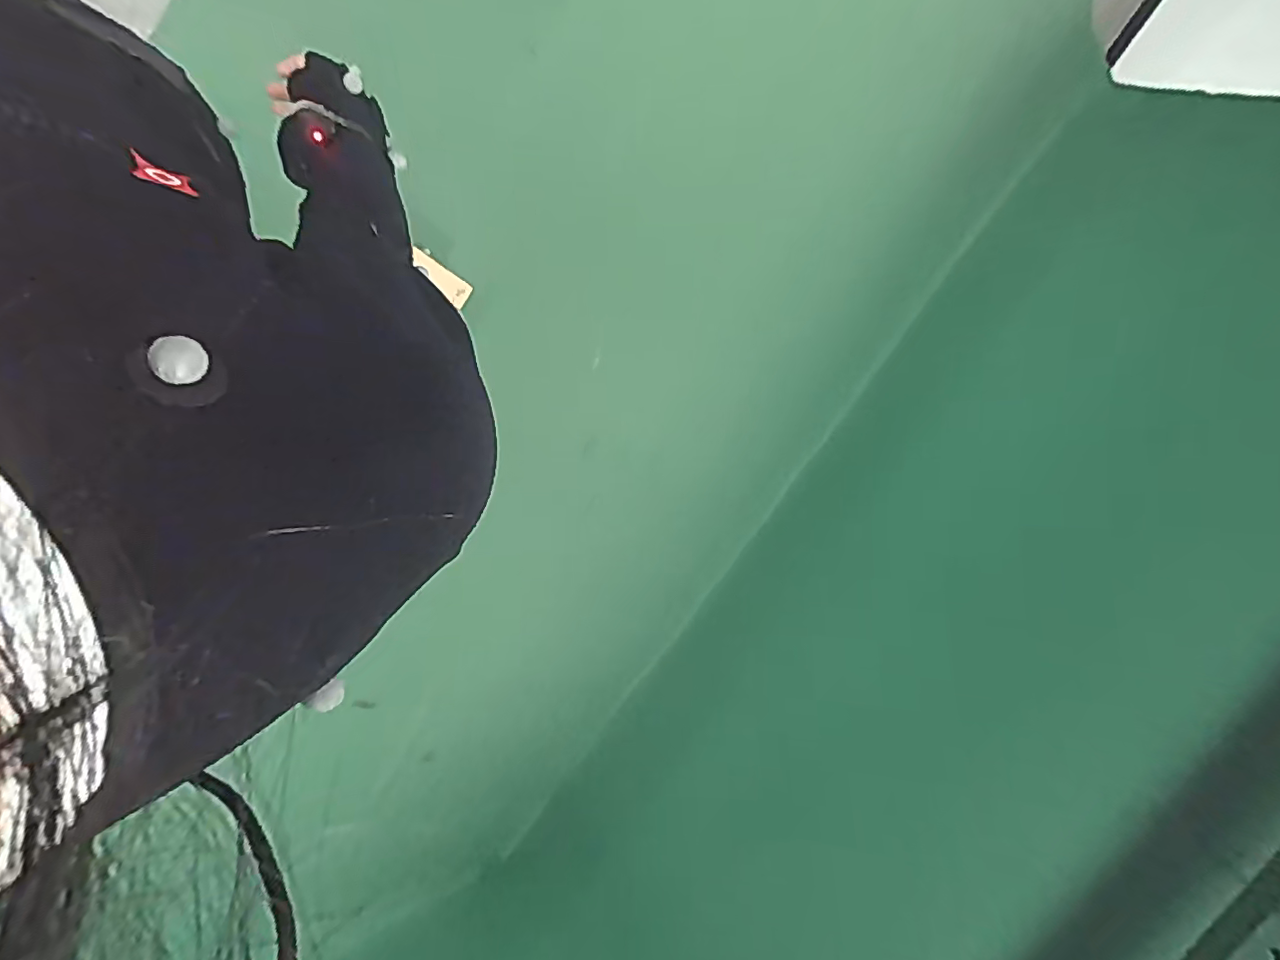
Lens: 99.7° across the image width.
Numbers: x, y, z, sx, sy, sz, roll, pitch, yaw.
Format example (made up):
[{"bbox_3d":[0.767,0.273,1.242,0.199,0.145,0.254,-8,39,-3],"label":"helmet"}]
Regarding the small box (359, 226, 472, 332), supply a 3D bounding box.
[{"bbox_3d":[-0.557,-0.498,1.329,0.168,0.176,0.179,-54,142,7],"label":"small box"}]
